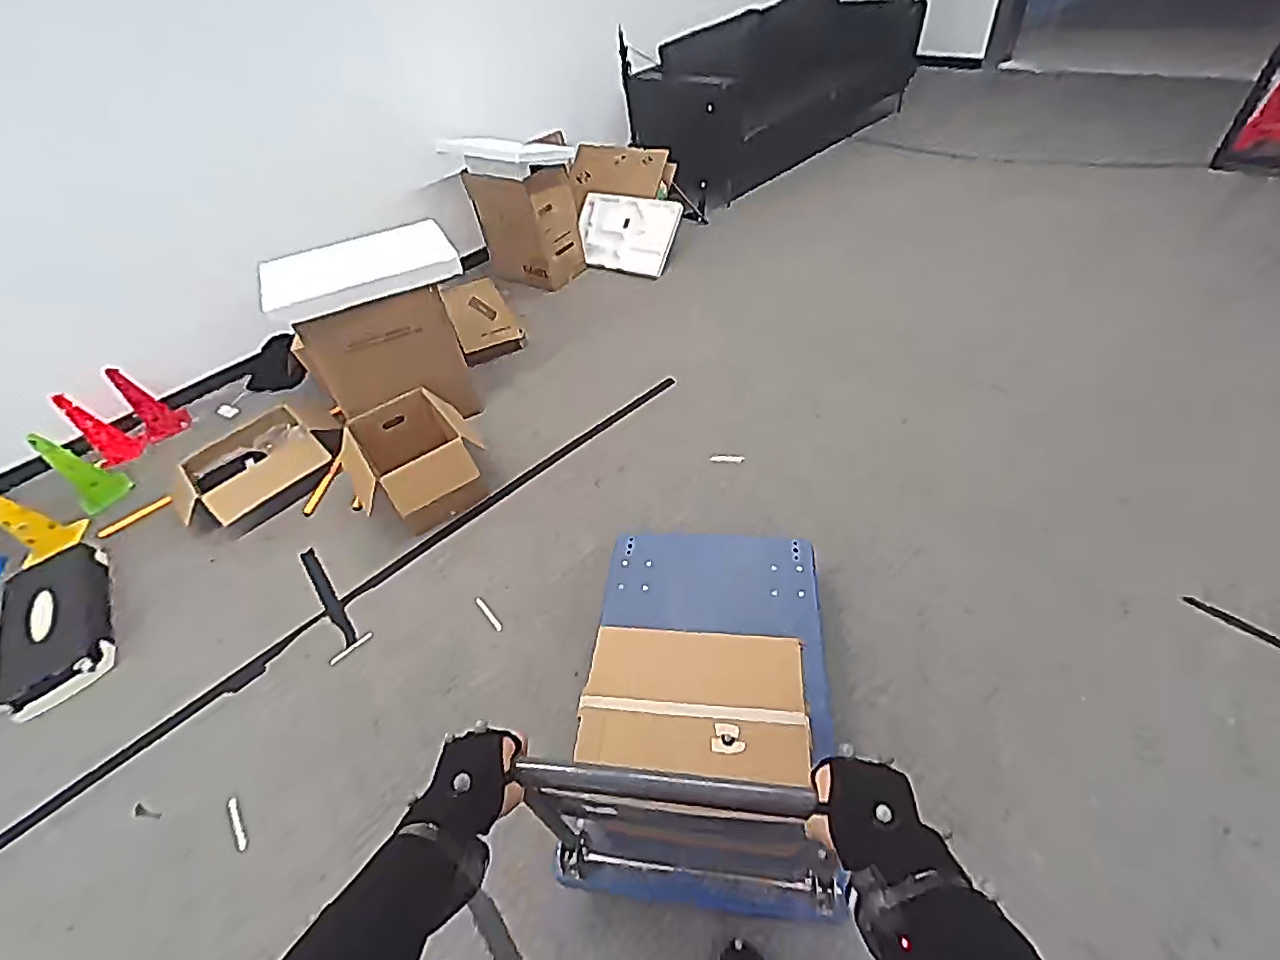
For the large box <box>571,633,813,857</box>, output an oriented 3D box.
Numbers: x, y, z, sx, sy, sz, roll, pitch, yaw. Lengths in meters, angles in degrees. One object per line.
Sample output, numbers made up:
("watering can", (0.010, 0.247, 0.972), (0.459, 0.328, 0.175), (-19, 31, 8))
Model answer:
("large box", (0.108, 0.529, 1.085), (0.408, 0.320, 0.320), (1, 48, 9))
